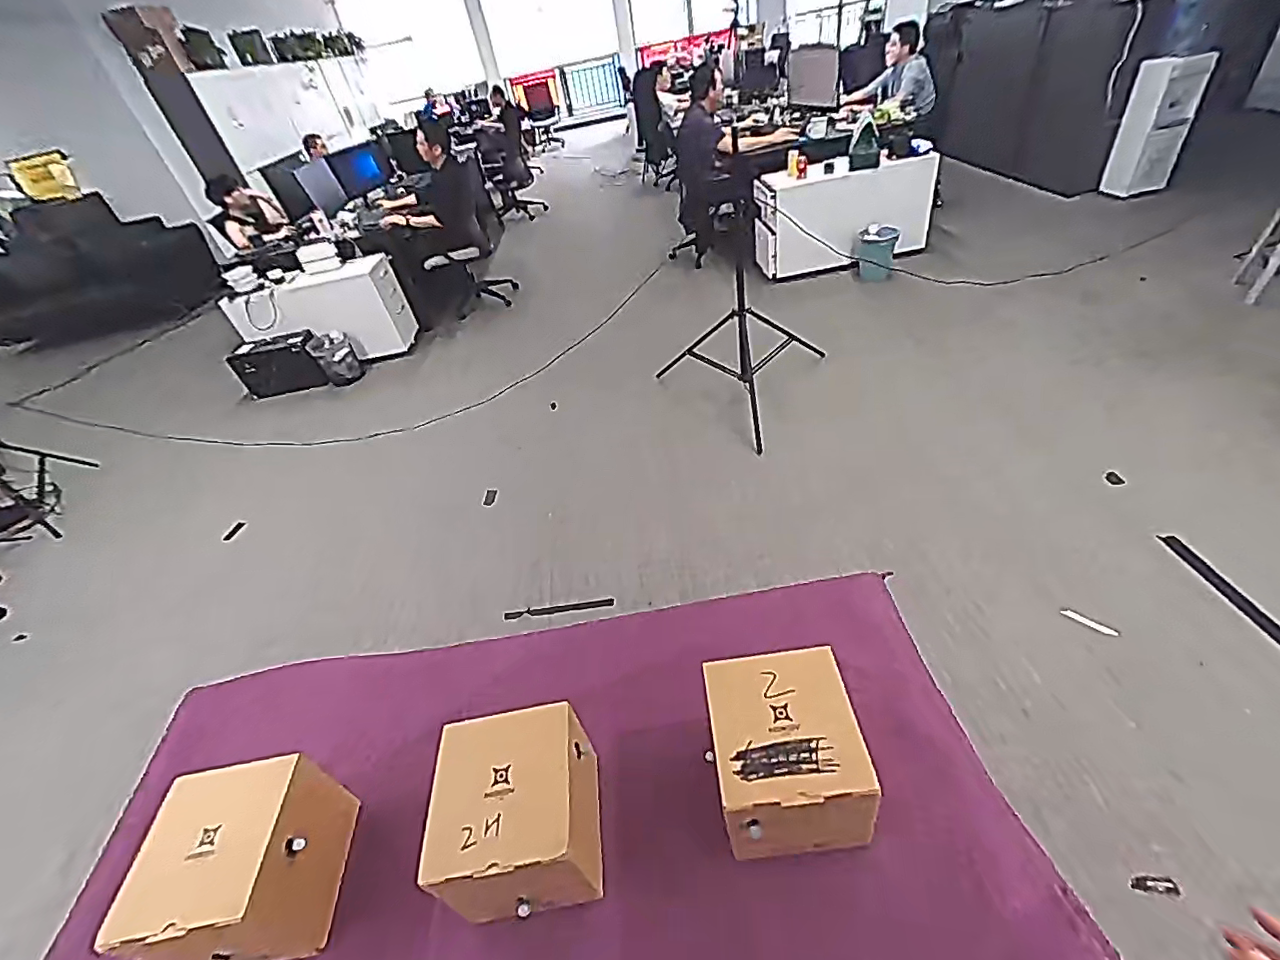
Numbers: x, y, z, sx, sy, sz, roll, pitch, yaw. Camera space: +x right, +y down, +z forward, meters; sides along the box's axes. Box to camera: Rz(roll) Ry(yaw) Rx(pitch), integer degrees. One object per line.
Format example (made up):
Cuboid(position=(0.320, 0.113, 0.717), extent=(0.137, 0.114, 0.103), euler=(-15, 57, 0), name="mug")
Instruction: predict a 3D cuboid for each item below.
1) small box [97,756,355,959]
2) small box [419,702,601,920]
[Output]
Cuboid(position=(-0.494, 0.485, 0.685), extent=(0.168, 0.176, 0.179), euler=(-11, 41, 0), name="small box")
Cuboid(position=(-0.147, 0.413, 0.678), extent=(0.168, 0.176, 0.179), euler=(-12, 40, 2), name="small box")
